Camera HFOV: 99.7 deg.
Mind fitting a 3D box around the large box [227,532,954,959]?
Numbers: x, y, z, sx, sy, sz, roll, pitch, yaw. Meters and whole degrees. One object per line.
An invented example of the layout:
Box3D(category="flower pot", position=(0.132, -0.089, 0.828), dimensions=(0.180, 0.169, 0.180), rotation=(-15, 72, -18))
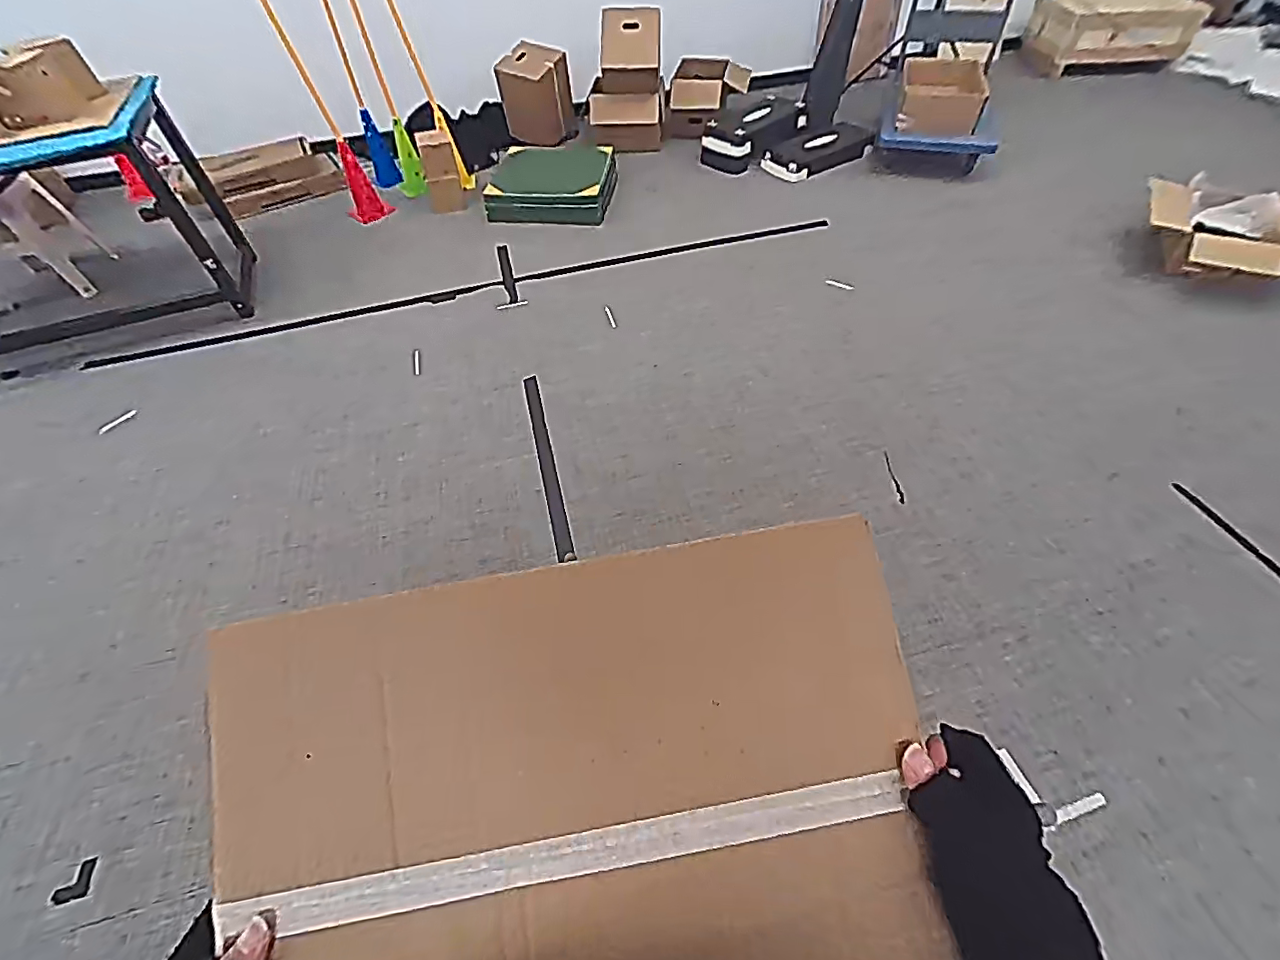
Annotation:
Box3D(category="large box", position=(-0.033, 0.241, 0.463), dimensions=(0.408, 0.320, 0.320), rotation=(-10, 80, -2))
